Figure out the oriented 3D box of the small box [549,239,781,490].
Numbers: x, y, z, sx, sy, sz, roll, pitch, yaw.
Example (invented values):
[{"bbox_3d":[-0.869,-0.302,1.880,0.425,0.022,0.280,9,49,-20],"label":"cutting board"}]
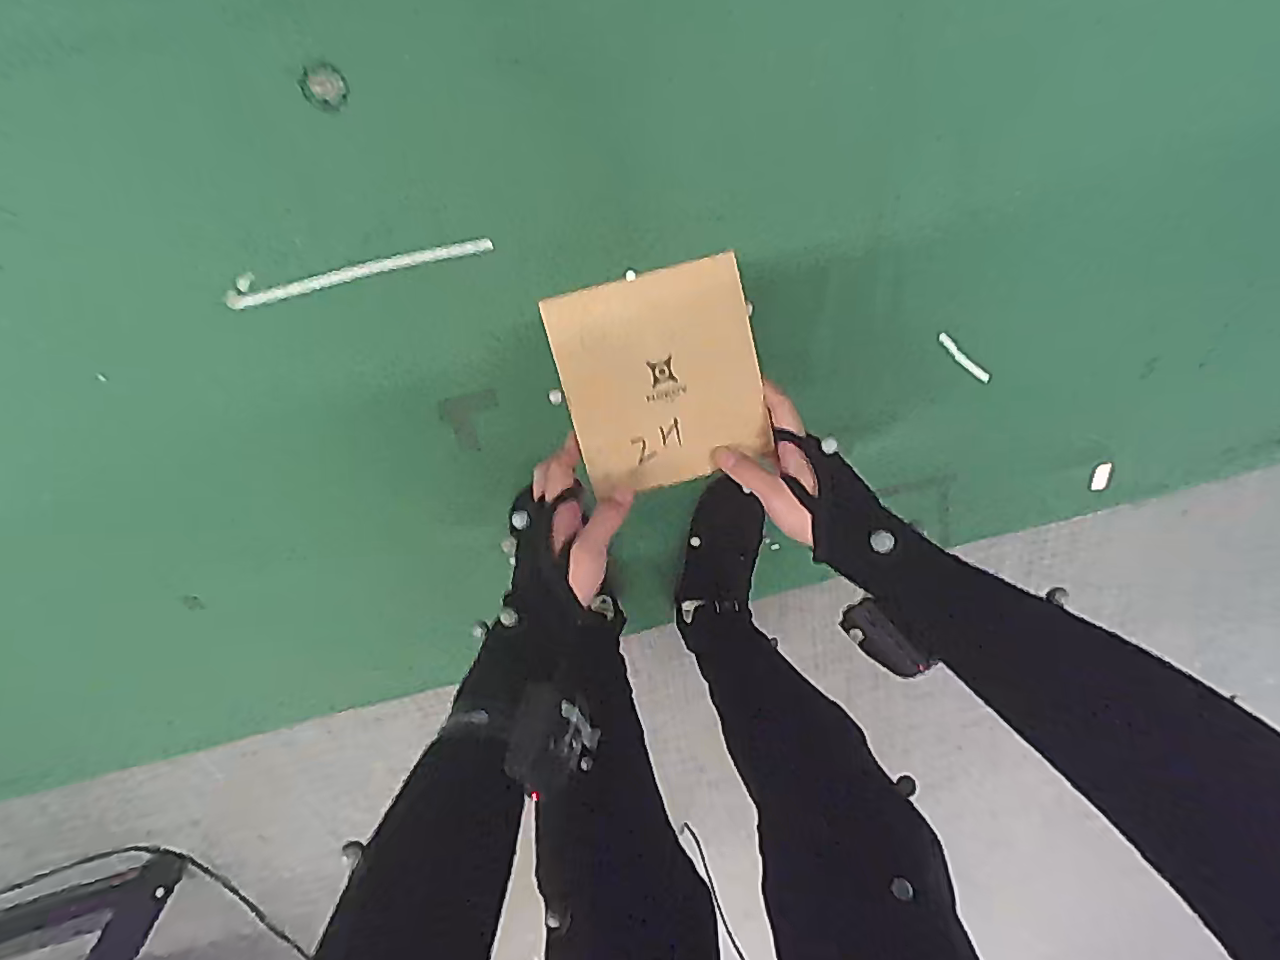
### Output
[{"bbox_3d":[0.015,-0.106,0.524,0.168,0.176,0.179,-15,102,-3],"label":"small box"}]
